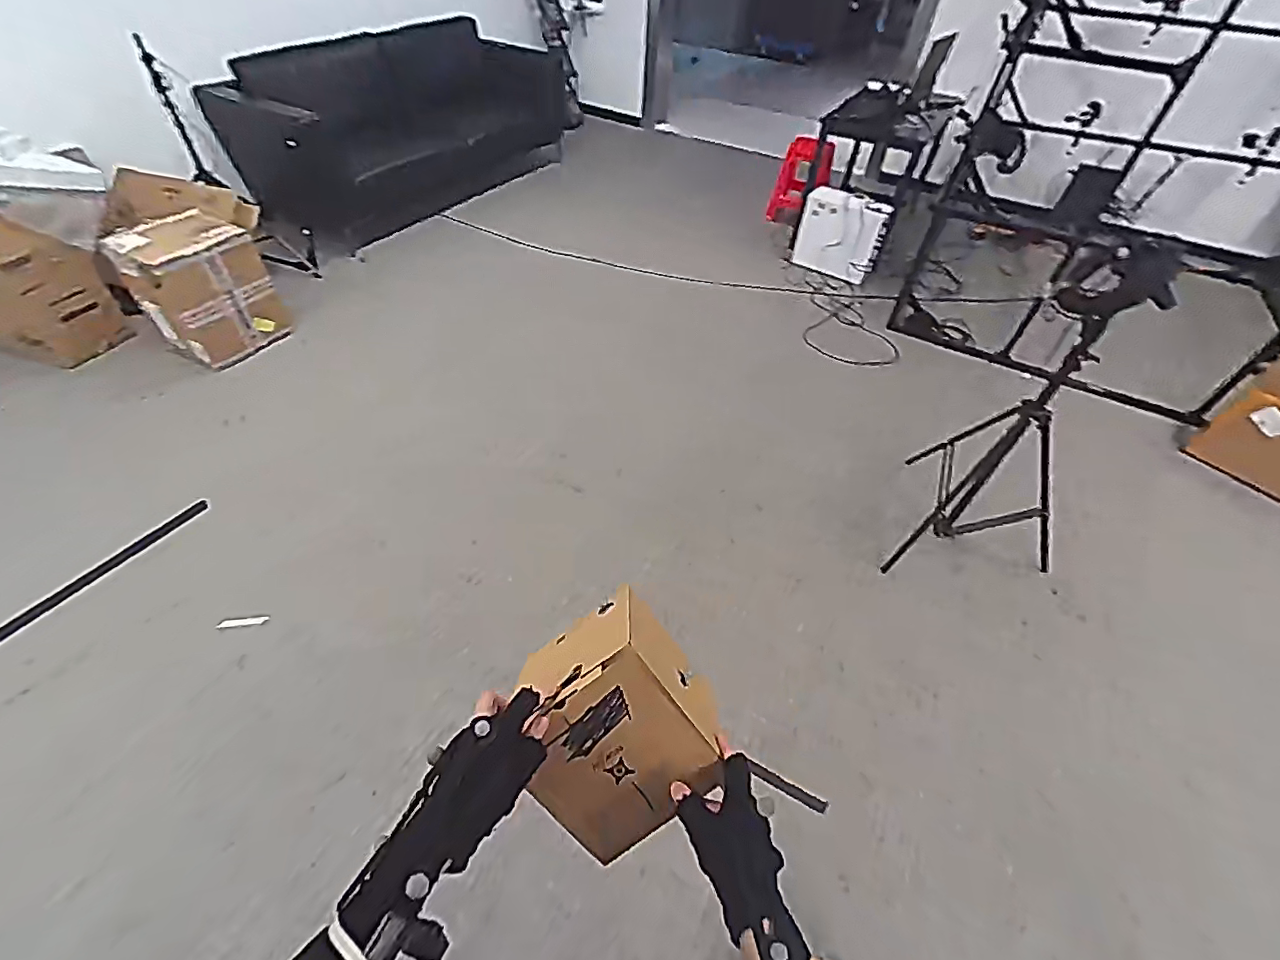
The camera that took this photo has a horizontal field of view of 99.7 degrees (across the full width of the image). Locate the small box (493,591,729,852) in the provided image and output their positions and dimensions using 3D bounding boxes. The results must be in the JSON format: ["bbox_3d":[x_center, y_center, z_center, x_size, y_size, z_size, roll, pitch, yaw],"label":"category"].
[{"bbox_3d":[-0.030,0.246,0.602,0.168,0.176,0.179,-38,97,4],"label":"small box"}]

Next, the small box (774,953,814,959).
[{"bbox_3d":[0.343,1.030,1.027,0.179,0.176,0.168,10,46,6],"label":"small box"}]
